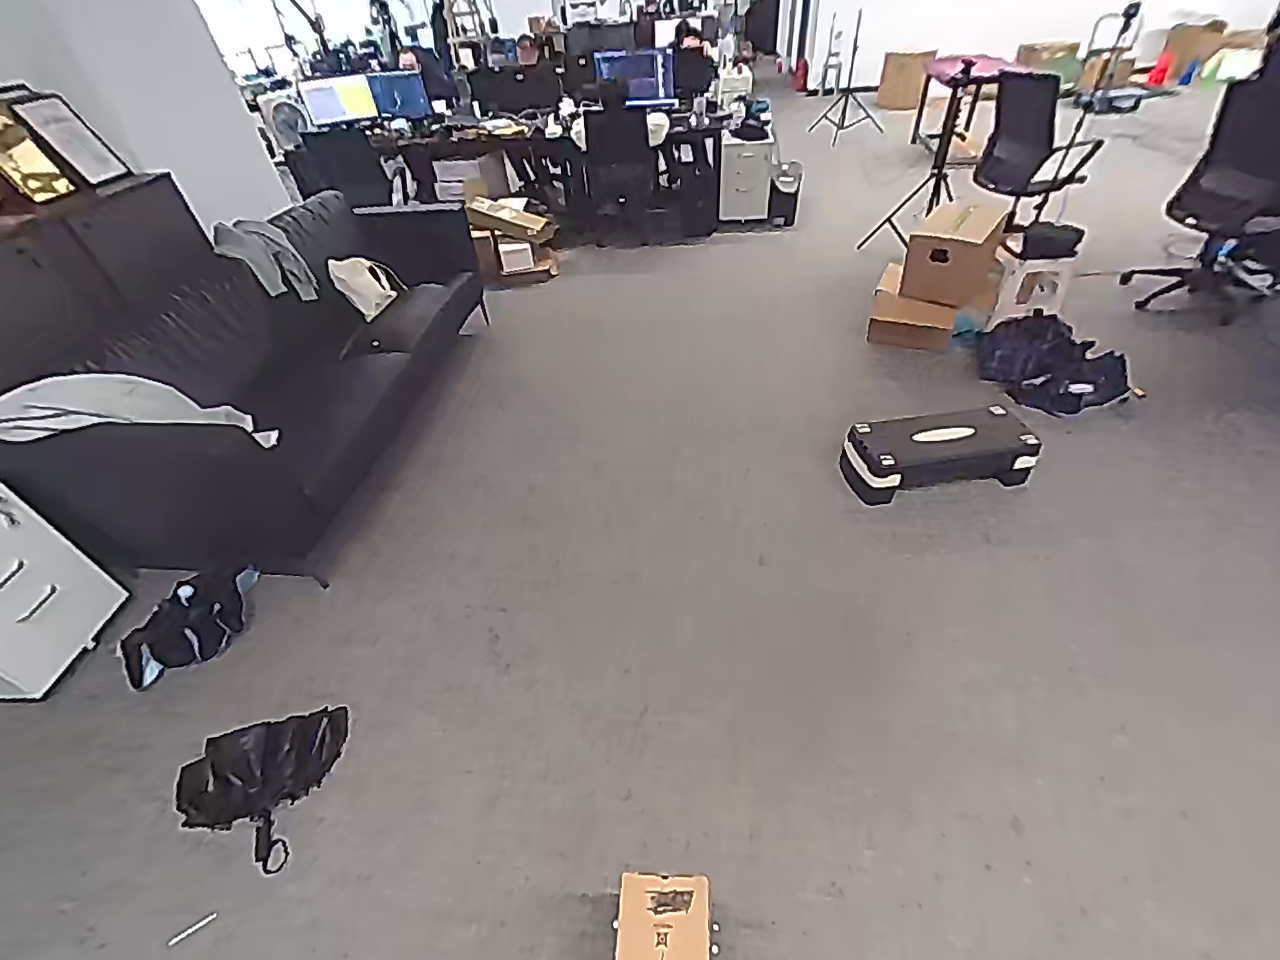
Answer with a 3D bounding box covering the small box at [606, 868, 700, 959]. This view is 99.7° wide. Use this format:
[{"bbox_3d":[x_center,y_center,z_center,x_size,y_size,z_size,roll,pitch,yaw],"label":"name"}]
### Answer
[{"bbox_3d":[0.030,0.864,1.022,0.168,0.176,0.179,0,43,6],"label":"small box"}]
